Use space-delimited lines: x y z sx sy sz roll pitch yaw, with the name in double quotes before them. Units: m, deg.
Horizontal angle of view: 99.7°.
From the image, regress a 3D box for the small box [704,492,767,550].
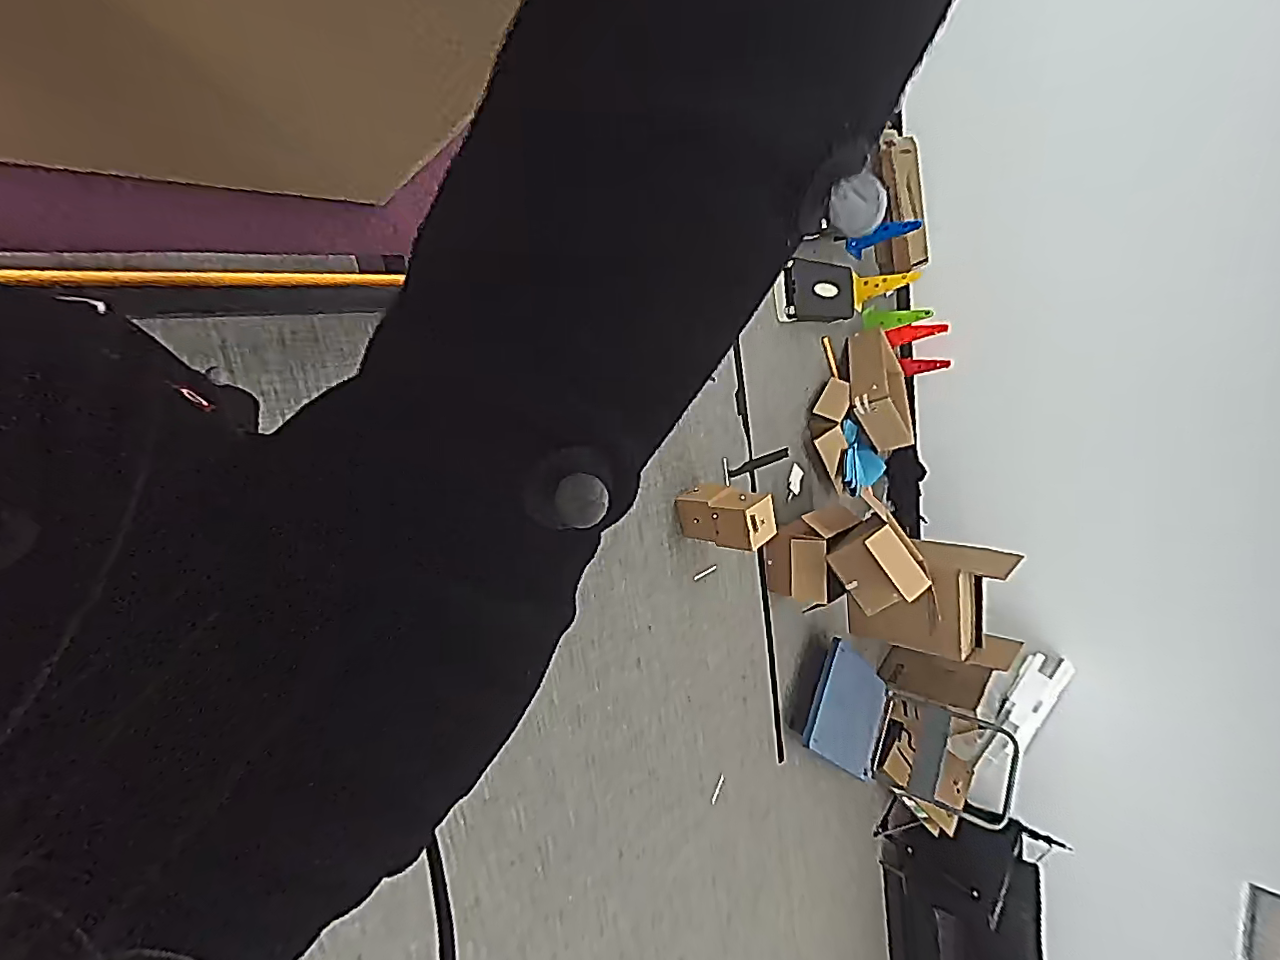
"small box" 0.358 0.151 2.054 0.179 0.176 0.168 -26 111 -42
